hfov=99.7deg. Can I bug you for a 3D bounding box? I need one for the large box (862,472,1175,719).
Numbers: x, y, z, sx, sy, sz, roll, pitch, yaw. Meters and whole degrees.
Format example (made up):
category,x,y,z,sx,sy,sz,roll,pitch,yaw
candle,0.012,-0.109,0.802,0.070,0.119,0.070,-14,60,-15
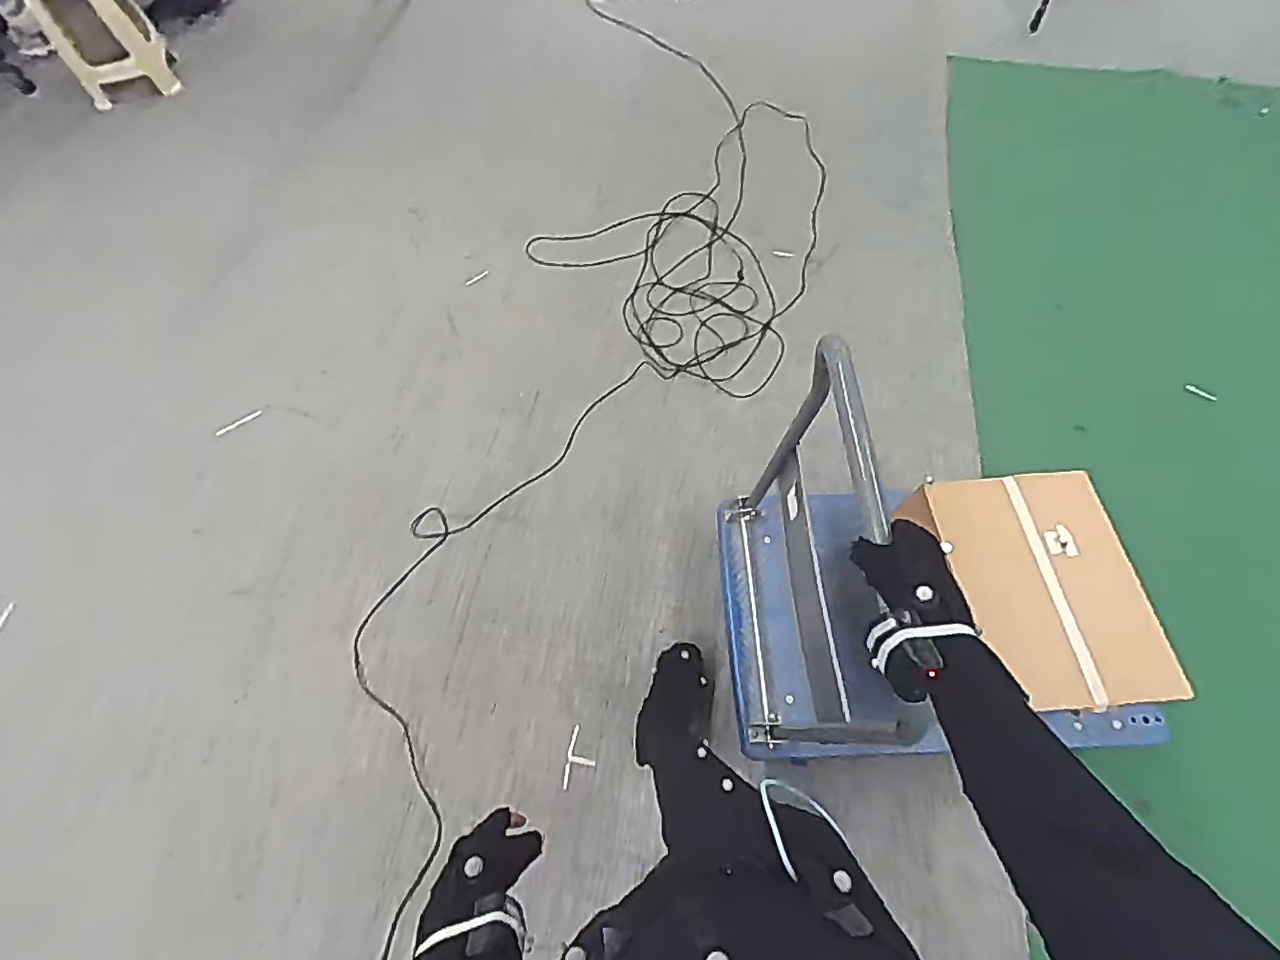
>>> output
category,x,y,z,sx,sy,sz,roll,pitch,yaw
large box,0.691,0.240,1.079,0.320,0.320,0.408,-4,63,-2
